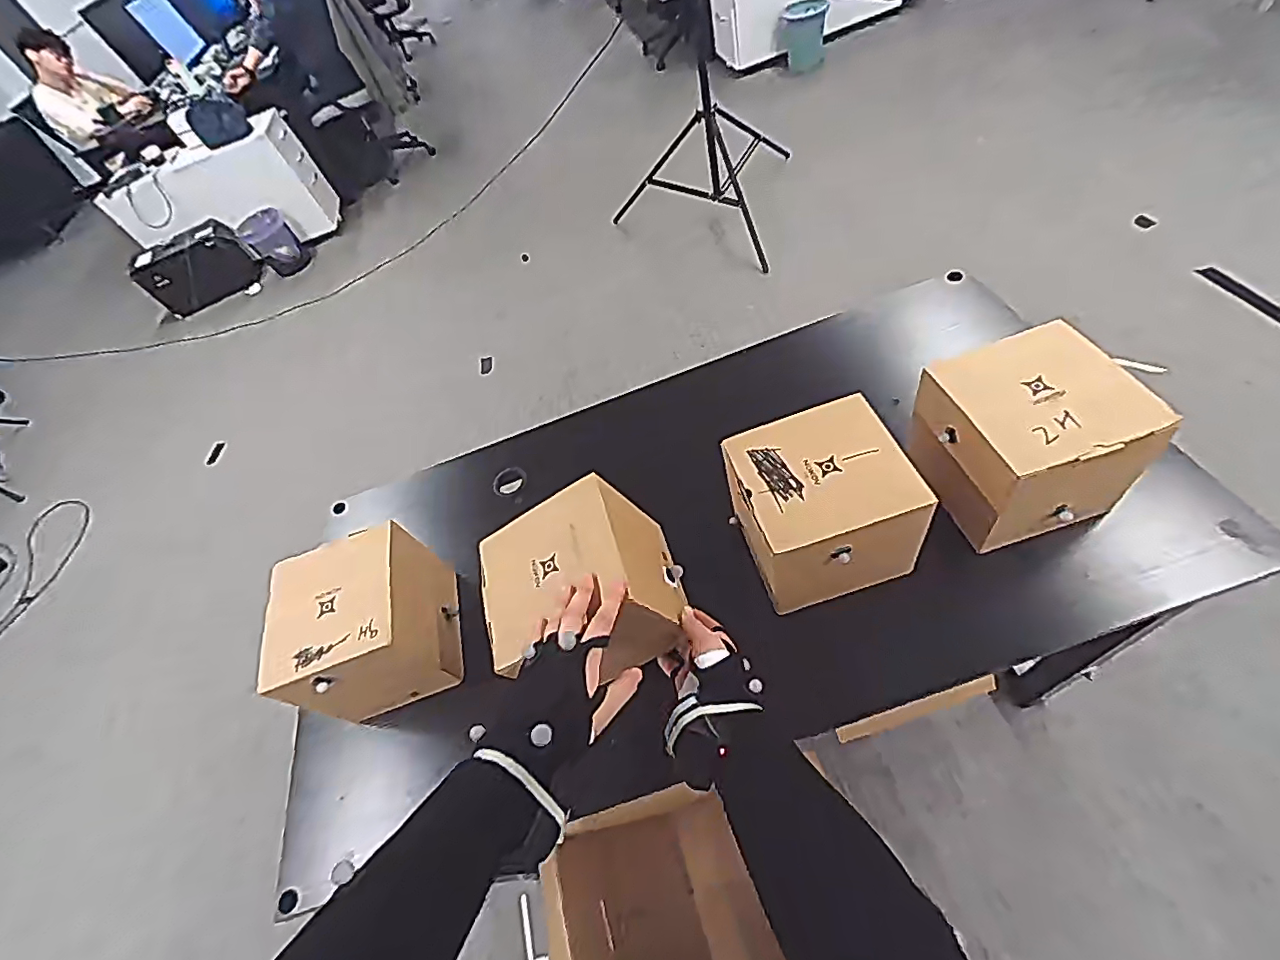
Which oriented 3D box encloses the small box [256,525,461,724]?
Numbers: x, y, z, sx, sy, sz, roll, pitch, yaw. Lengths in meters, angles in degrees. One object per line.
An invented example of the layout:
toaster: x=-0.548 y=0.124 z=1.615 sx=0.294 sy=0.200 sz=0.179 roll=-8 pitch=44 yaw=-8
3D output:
small box: x=-0.353 y=0.194 z=0.712 sx=0.168 sy=0.176 sz=0.179 roll=-20 pitch=52 yaw=1

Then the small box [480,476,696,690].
small box: x=-0.061 y=0.133 z=0.645 sx=0.179 sy=0.176 sz=0.168 roll=-31 pitch=52 yaw=13

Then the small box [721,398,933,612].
small box: x=0.213 y=0.037 z=0.652 sx=0.179 sy=0.176 sz=0.168 roll=-18 pitch=53 yaw=2

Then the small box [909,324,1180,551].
small box: x=0.444 y=-0.045 z=0.638 sx=0.168 sy=0.176 sz=0.179 roll=-20 pitch=52 yaw=4
